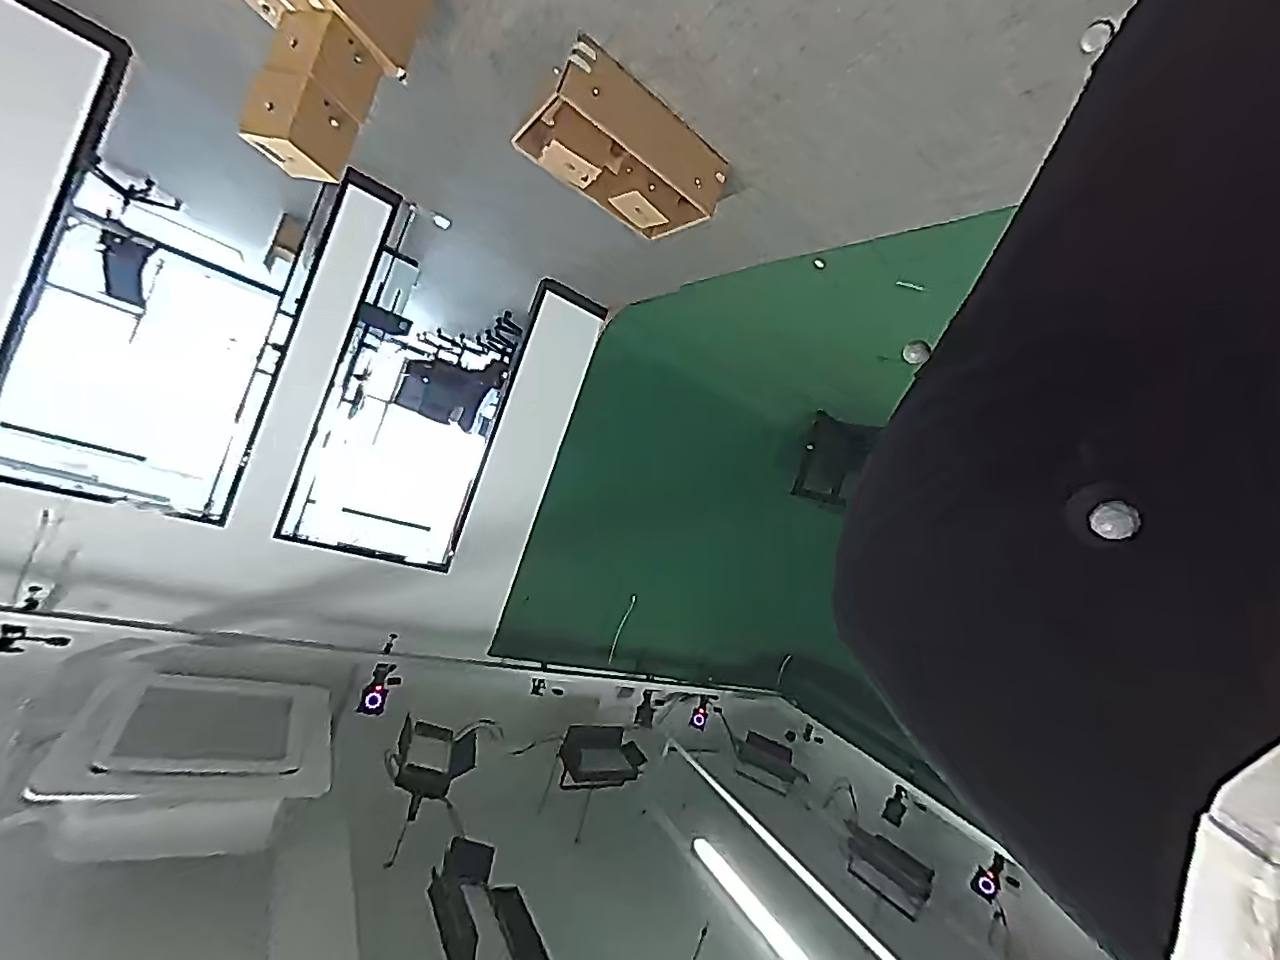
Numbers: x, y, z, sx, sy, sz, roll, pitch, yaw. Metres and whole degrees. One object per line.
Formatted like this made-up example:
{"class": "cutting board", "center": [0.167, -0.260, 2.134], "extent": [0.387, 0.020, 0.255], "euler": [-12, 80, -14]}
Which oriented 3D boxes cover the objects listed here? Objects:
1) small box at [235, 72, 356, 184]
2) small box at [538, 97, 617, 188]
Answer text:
{"class": "small box", "center": [-0.865, -0.892, 1.372], "extent": [0.179, 0.176, 0.168], "euler": [17, 178, 16]}
{"class": "small box", "center": [-0.204, -1.100, 1.758], "extent": [0.179, 0.176, 0.168], "euler": [20, 178, -29]}
